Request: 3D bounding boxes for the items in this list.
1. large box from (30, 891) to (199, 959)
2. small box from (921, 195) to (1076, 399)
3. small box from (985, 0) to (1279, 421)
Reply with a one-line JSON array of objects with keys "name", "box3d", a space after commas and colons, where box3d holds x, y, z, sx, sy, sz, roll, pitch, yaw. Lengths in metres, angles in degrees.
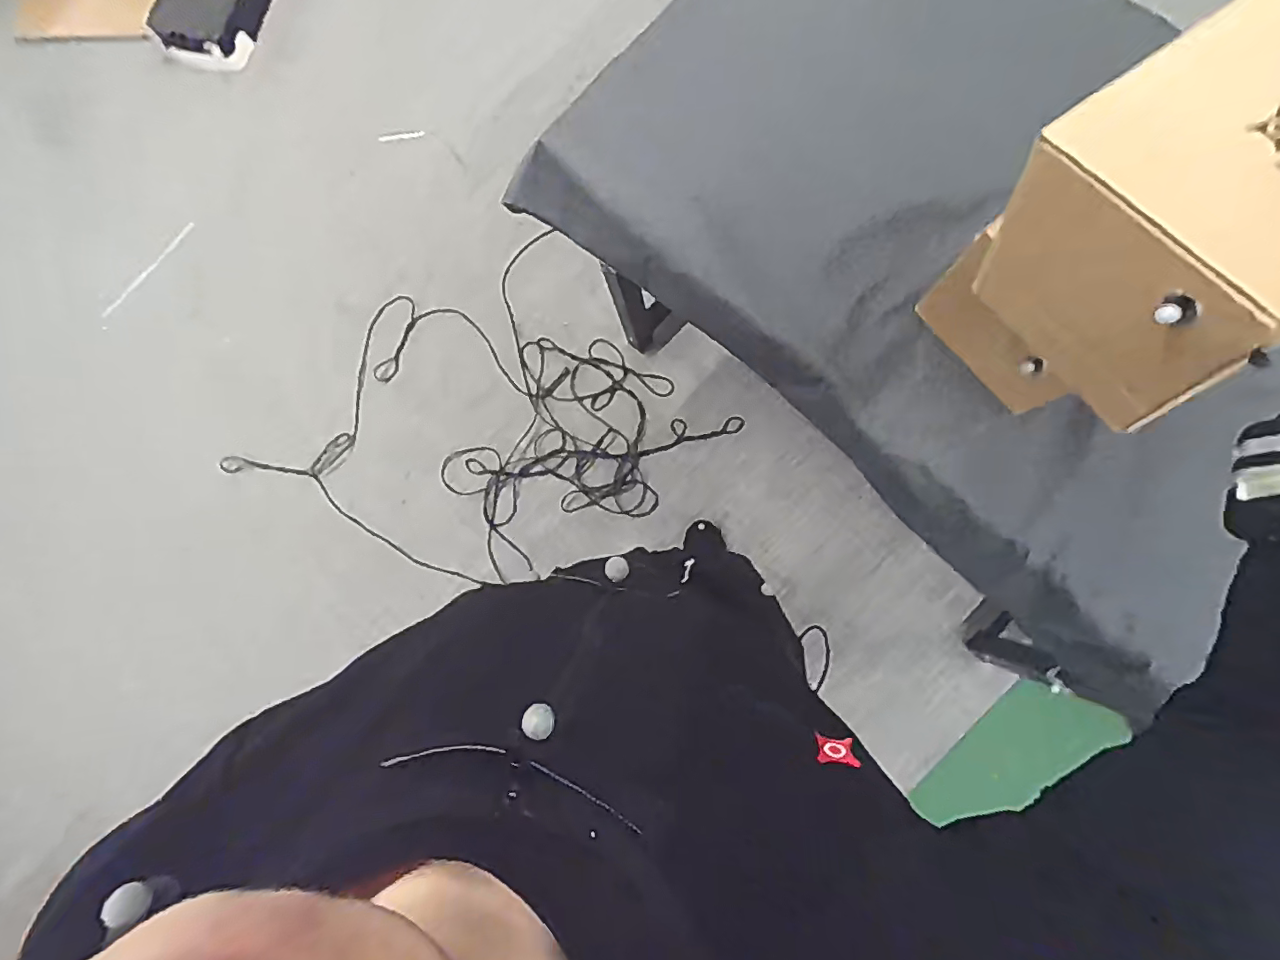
[{"name": "large box", "box3d": [-1.267, 1.295, 1.238, 0.408, 0.320, 0.320, 42, 88, 11]}, {"name": "small box", "box3d": [0.444, -0.205, 0.567, 0.168, 0.176, 0.179, -39, 80, -1]}, {"name": "small box", "box3d": [0.382, -0.170, 0.370, 0.168, 0.176, 0.179, -33, 69, 8]}]
